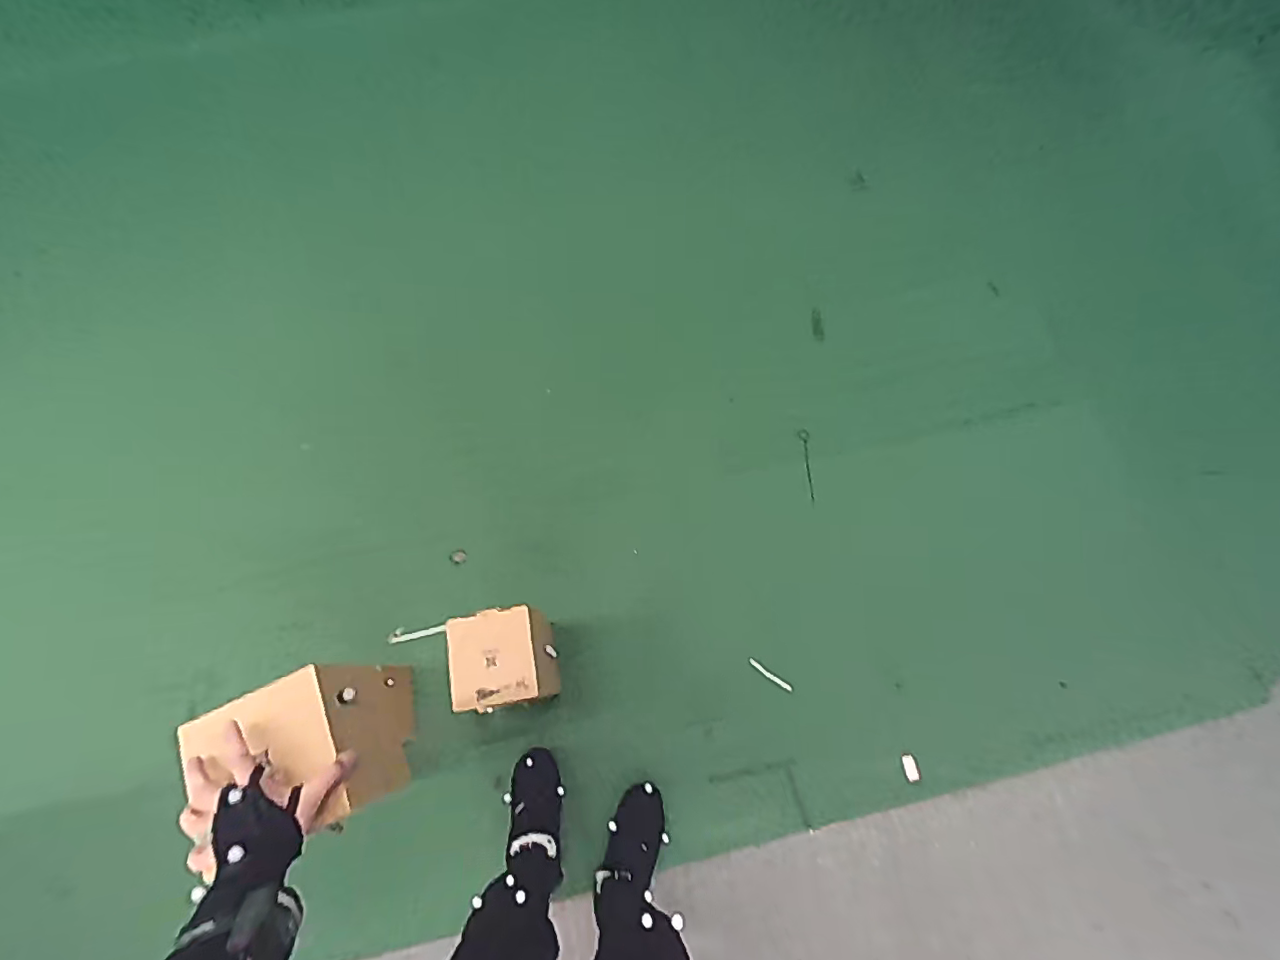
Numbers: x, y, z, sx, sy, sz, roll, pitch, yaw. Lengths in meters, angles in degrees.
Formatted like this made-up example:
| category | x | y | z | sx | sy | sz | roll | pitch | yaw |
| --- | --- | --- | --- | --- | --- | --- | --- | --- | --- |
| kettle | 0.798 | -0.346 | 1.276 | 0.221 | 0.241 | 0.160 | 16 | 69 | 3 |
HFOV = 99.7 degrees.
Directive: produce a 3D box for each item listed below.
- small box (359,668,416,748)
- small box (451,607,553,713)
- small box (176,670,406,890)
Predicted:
| category | x | y | z | sx | sy | sz | roll | pitch | yaw |
| --- | --- | --- | --- | --- | --- | --- | --- | --- | --- |
| small box | -0.636 | 0.543 | 1.254 | 0.168 | 0.176 | 0.179 | -13 | 71 | -3 |
| small box | -0.283 | 0.376 | 1.128 | 0.168 | 0.176 | 0.179 | -10 | 71 | -2 |
| small box | -0.429 | 0.362 | 0.687 | 0.168 | 0.176 | 0.179 | -25 | 71 | -7 |
